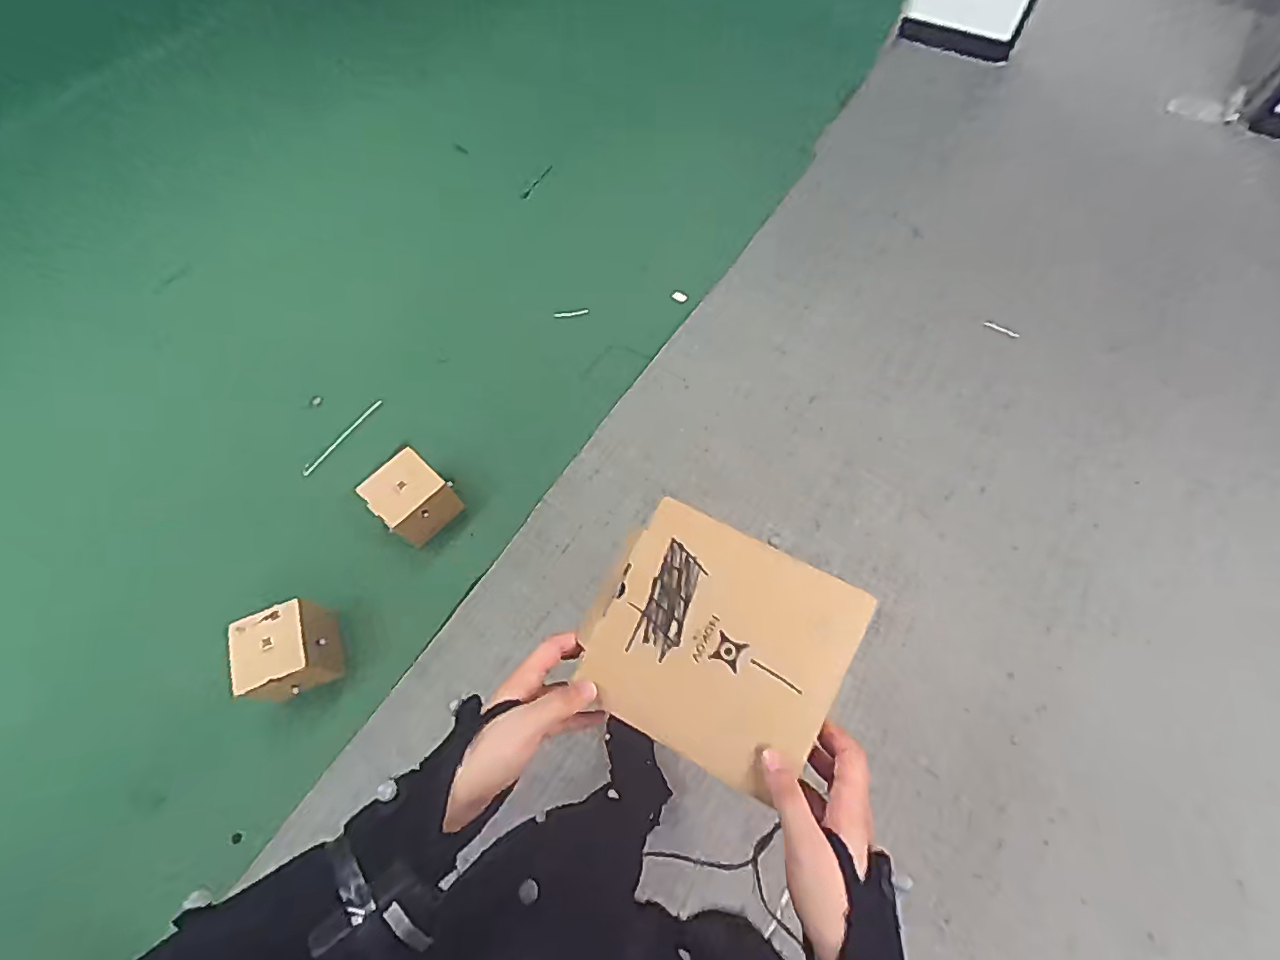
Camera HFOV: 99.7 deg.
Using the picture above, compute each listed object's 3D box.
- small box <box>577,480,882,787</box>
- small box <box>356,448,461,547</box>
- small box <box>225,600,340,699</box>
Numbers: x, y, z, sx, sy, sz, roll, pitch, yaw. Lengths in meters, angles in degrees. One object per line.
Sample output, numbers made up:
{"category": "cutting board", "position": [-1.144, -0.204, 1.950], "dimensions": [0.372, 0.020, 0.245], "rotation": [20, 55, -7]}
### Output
{"category": "small box", "position": [0.074, 0.121, 0.476], "dimensions": [0.179, 0.176, 0.168], "rotation": [26, 85, 12]}
{"category": "small box", "position": [-0.617, 0.053, 1.466], "dimensions": [0.168, 0.176, 0.179], "rotation": [40, 70, 17]}
{"category": "small box", "position": [-0.852, 0.413, 1.301], "dimensions": [0.168, 0.176, 0.179], "rotation": [-21, 66, -7]}
